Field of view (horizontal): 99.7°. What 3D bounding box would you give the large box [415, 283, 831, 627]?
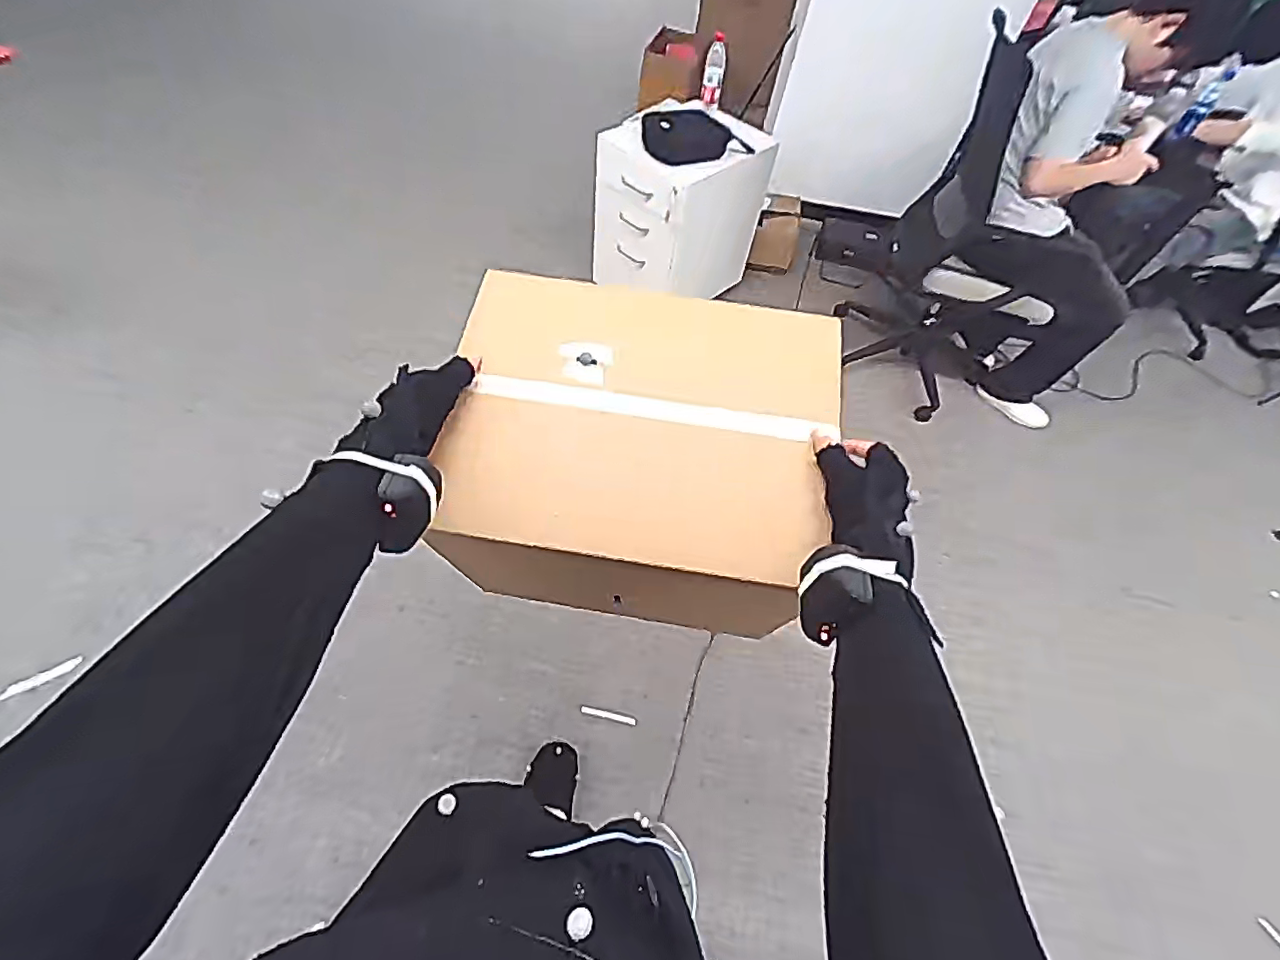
[{"bbox_3d":[0.001,-0.009,0.705,0.408,0.320,0.320,9,66,4],"label":"large box"}]
